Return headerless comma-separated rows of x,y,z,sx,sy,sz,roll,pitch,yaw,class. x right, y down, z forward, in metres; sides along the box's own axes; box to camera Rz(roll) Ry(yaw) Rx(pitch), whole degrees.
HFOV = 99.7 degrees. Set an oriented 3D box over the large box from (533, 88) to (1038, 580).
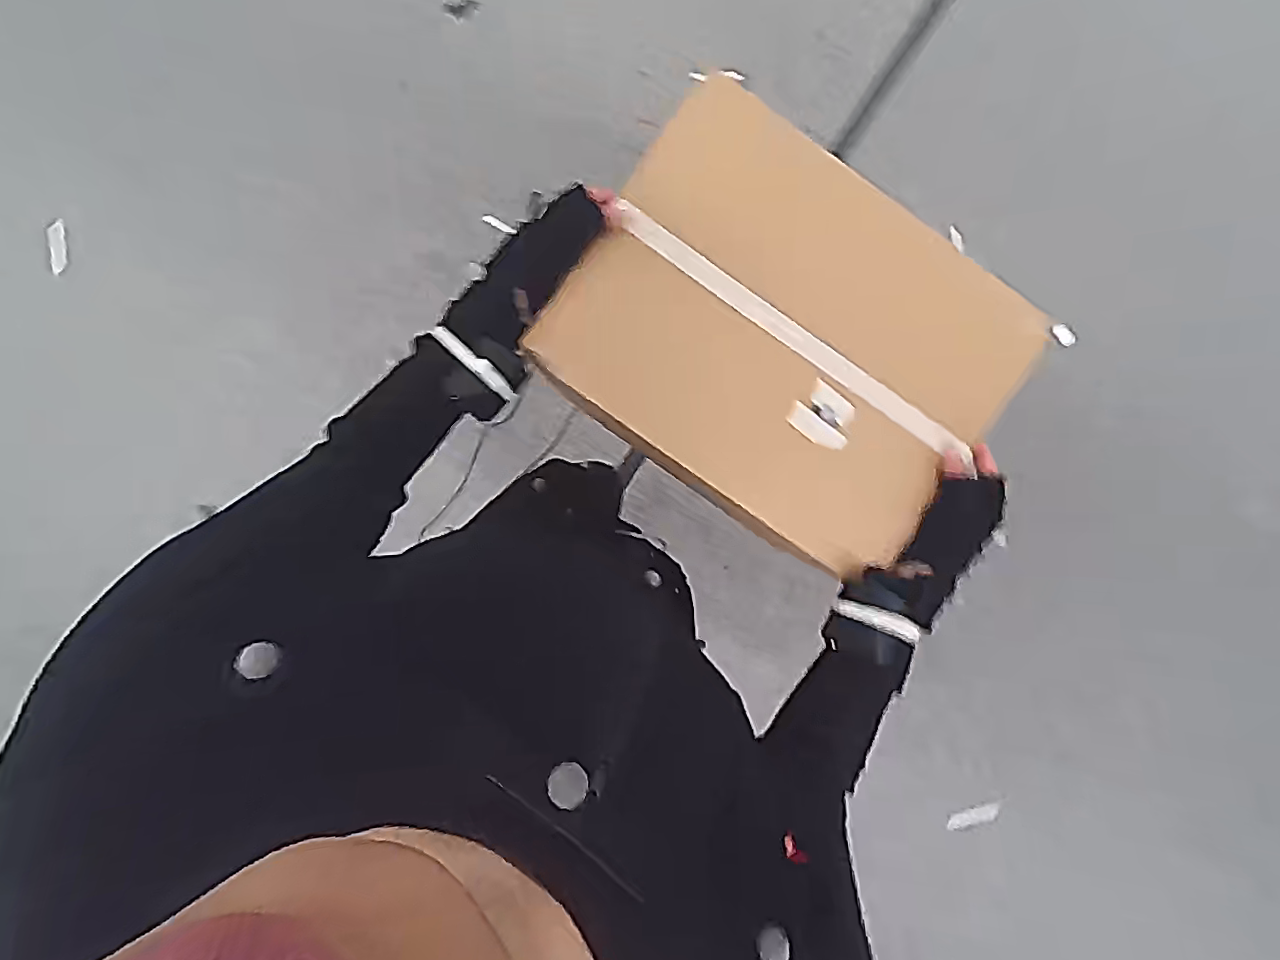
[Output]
0.135,-0.141,0.664,0.408,0.320,0.320,35,91,-4,large box
